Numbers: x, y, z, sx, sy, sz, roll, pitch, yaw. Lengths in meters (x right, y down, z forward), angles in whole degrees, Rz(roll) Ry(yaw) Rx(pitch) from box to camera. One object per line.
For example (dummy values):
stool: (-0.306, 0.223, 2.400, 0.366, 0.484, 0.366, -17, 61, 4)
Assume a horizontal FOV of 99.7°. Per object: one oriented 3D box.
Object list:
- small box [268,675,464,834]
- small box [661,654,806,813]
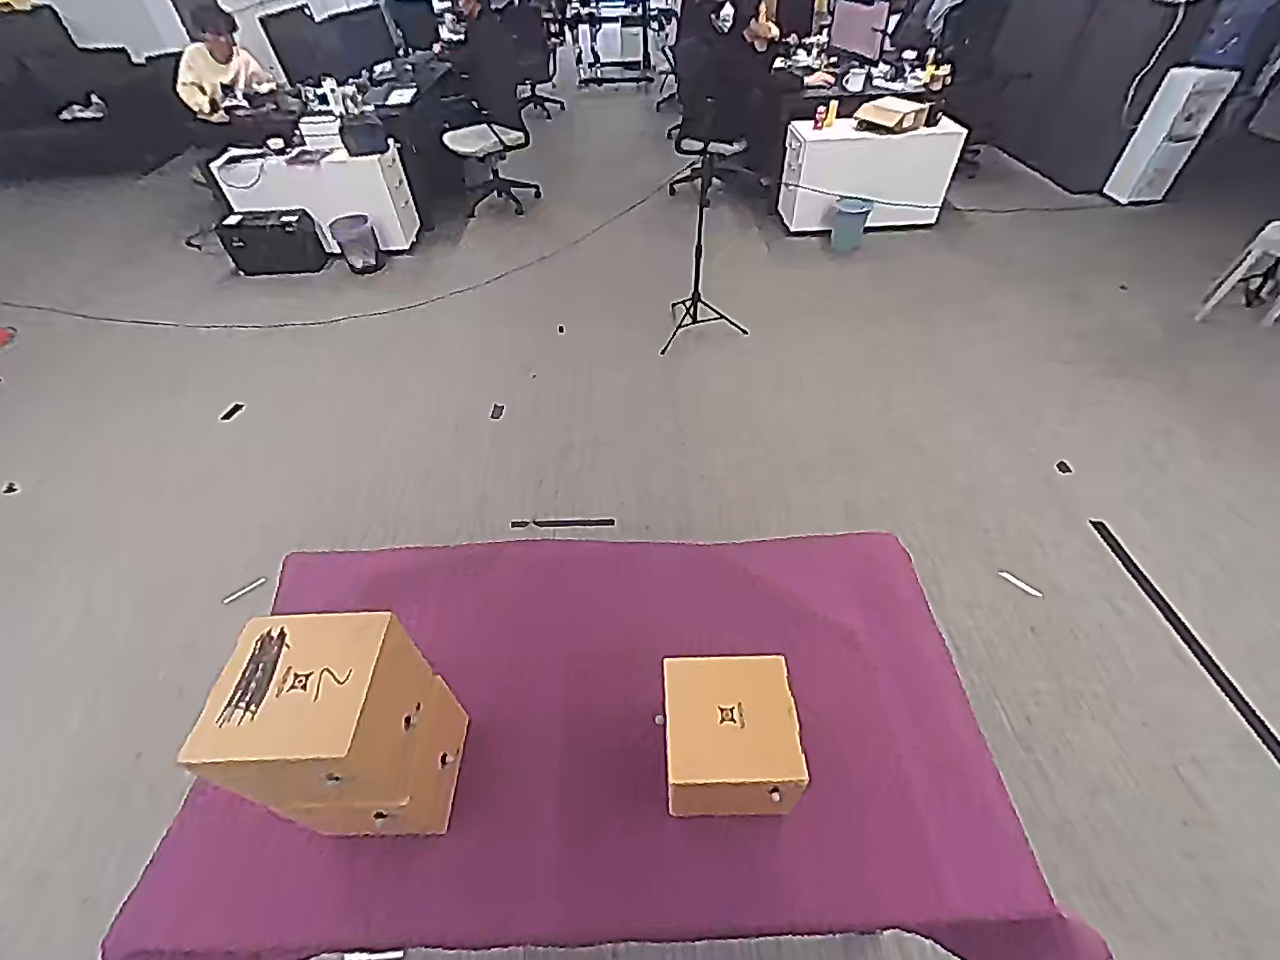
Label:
small box: (-0.367, 0.392, 0.770, 0.179, 0.176, 0.168, -1, 47, 1)
small box: (0.121, 0.367, 0.778, 0.179, 0.176, 0.168, -2, 47, 0)
